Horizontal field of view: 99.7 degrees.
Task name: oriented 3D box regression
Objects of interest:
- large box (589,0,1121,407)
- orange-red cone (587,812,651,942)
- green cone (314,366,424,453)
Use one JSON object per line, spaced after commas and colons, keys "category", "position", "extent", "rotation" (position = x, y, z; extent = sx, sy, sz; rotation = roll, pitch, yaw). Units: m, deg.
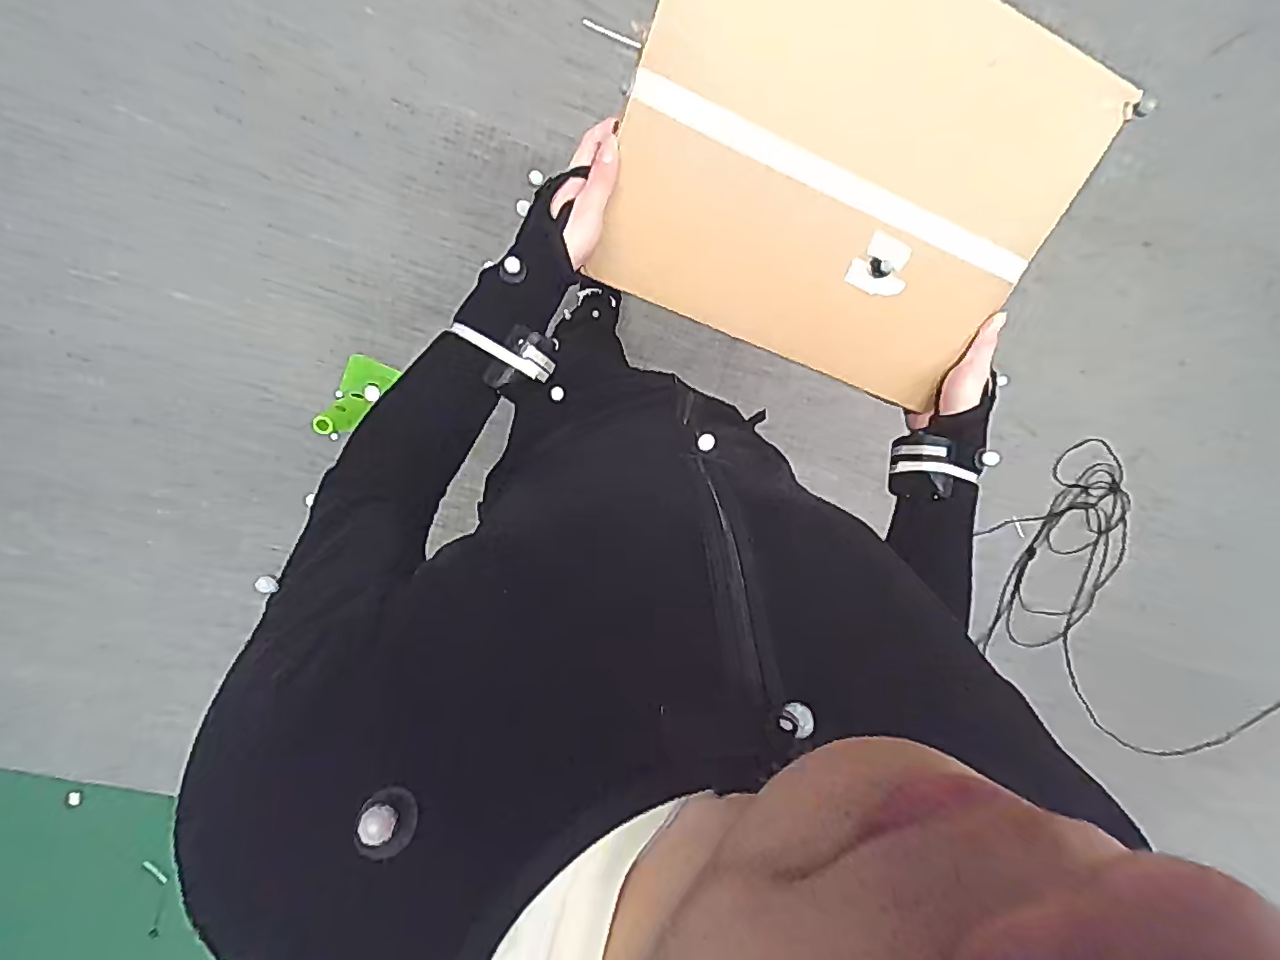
{"category": "large box", "position": [0.176, -0.330, 0.625], "extent": [0.408, 0.320, 0.320], "rotation": [18, 116, -12]}
{"category": "orange-red cone", "position": [-0.055, 1.370, 1.844], "extent": [0.199, 0.360, 0.198], "rotation": [23, 103, -14]}
{"category": "green cone", "position": [-0.700, -0.141, 1.325], "extent": [0.200, 0.368, 0.202], "rotation": [22, 104, -12]}
